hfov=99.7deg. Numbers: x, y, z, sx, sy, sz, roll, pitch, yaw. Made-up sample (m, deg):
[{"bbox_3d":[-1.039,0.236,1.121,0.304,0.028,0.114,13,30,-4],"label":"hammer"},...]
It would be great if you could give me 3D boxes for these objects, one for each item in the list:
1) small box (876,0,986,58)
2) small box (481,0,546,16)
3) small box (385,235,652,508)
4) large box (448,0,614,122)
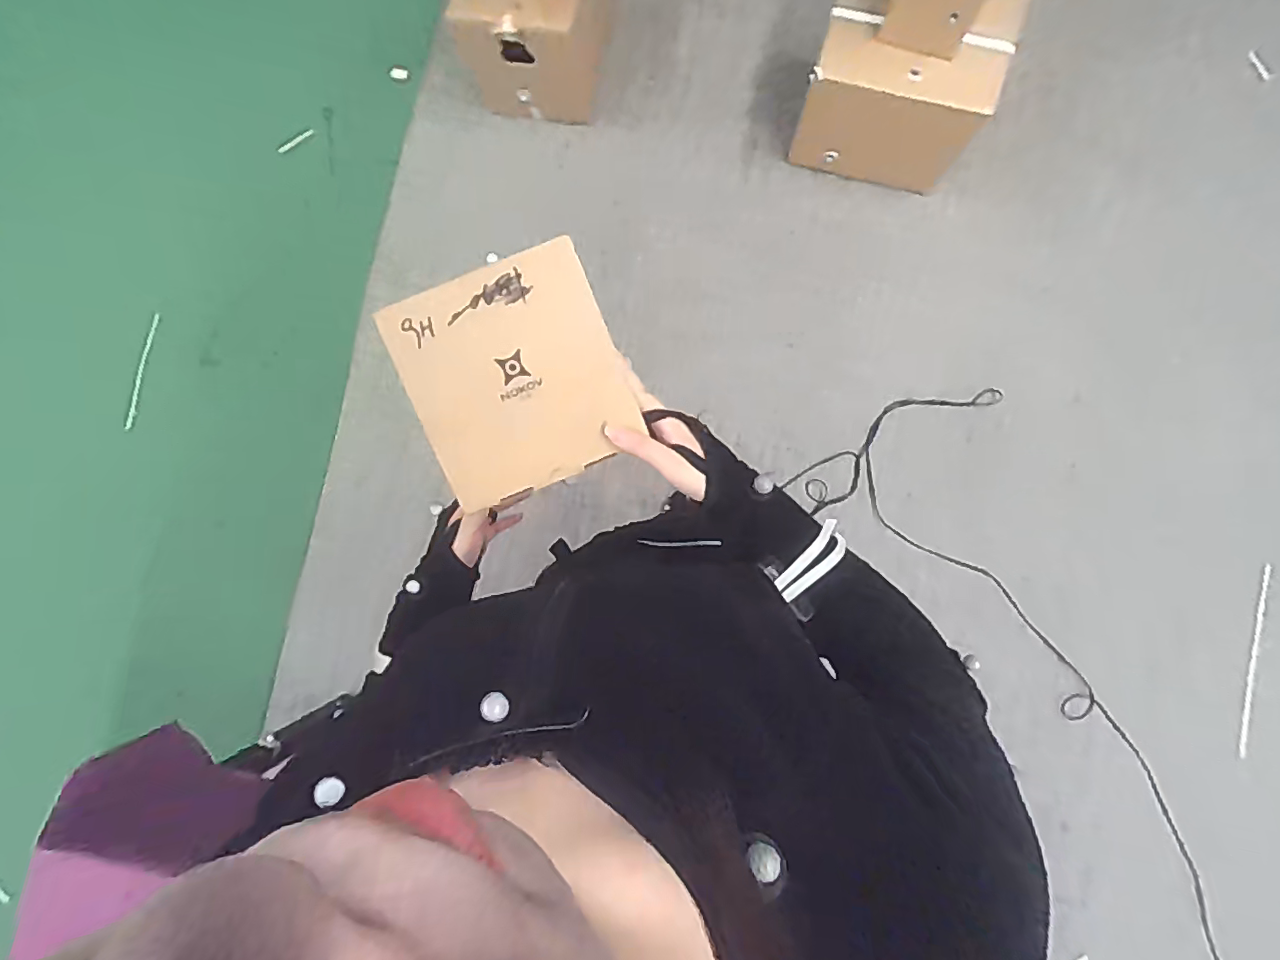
[{"bbox_3d":[0.626,-1.033,1.124,0.179,0.176,0.168,20,86,5],"label":"small box"},{"bbox_3d":[-0.296,-1.193,1.203,0.168,0.176,0.179,13,87,5],"label":"small box"},{"bbox_3d":[-0.097,-0.095,0.509,0.168,0.176,0.179,-21,99,-1],"label":"small box"},{"bbox_3d":[-0.272,-1.265,1.451,0.320,0.320,0.408,11,86,5],"label":"large box"}]
